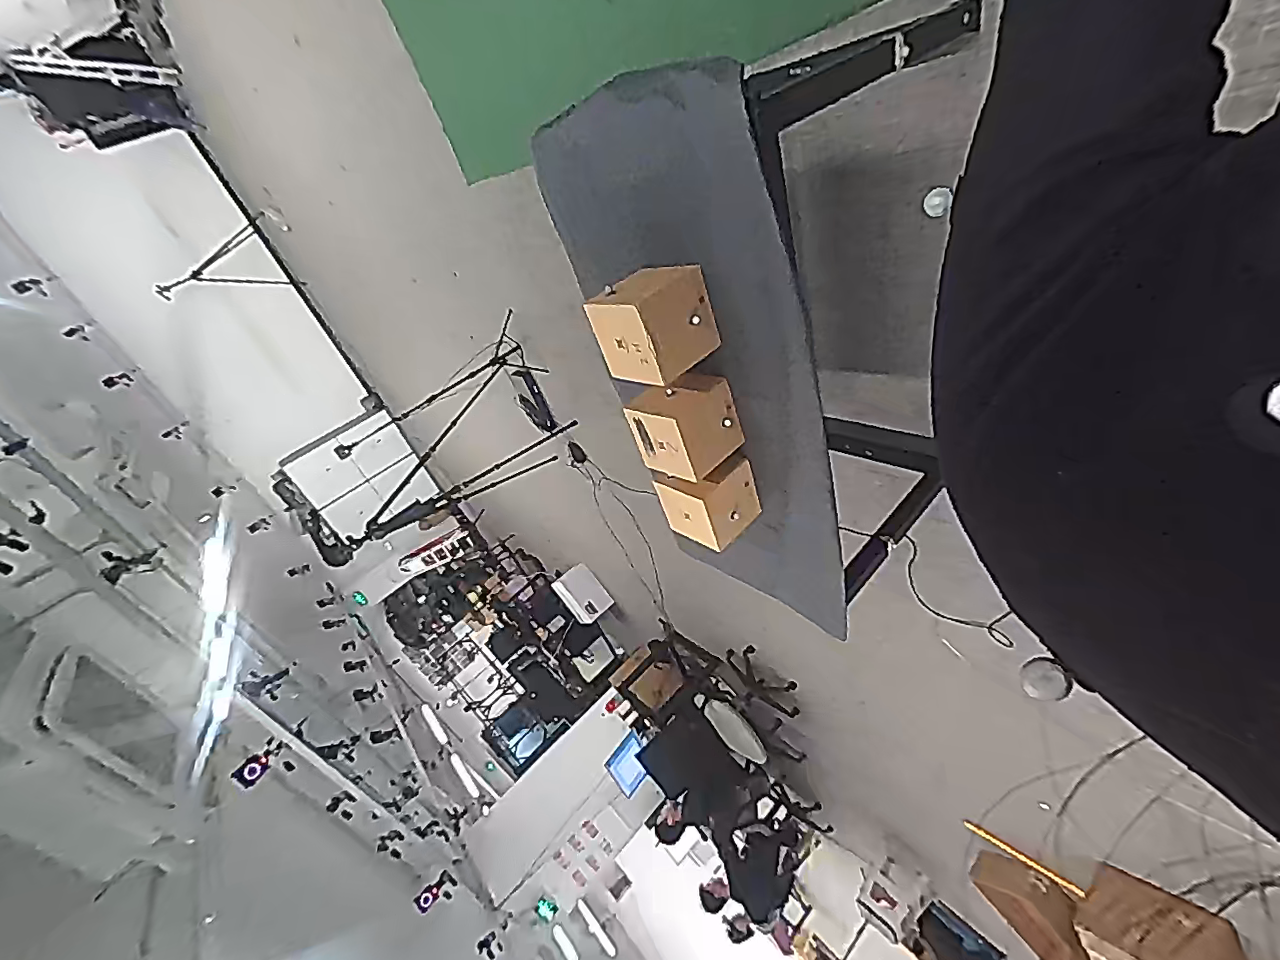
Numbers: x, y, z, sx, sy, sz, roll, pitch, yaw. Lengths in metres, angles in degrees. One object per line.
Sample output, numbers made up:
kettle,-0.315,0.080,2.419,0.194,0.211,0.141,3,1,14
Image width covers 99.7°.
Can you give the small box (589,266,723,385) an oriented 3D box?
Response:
small box,0.035,-0.310,1.075,0.179,0.176,0.168,21,143,48
